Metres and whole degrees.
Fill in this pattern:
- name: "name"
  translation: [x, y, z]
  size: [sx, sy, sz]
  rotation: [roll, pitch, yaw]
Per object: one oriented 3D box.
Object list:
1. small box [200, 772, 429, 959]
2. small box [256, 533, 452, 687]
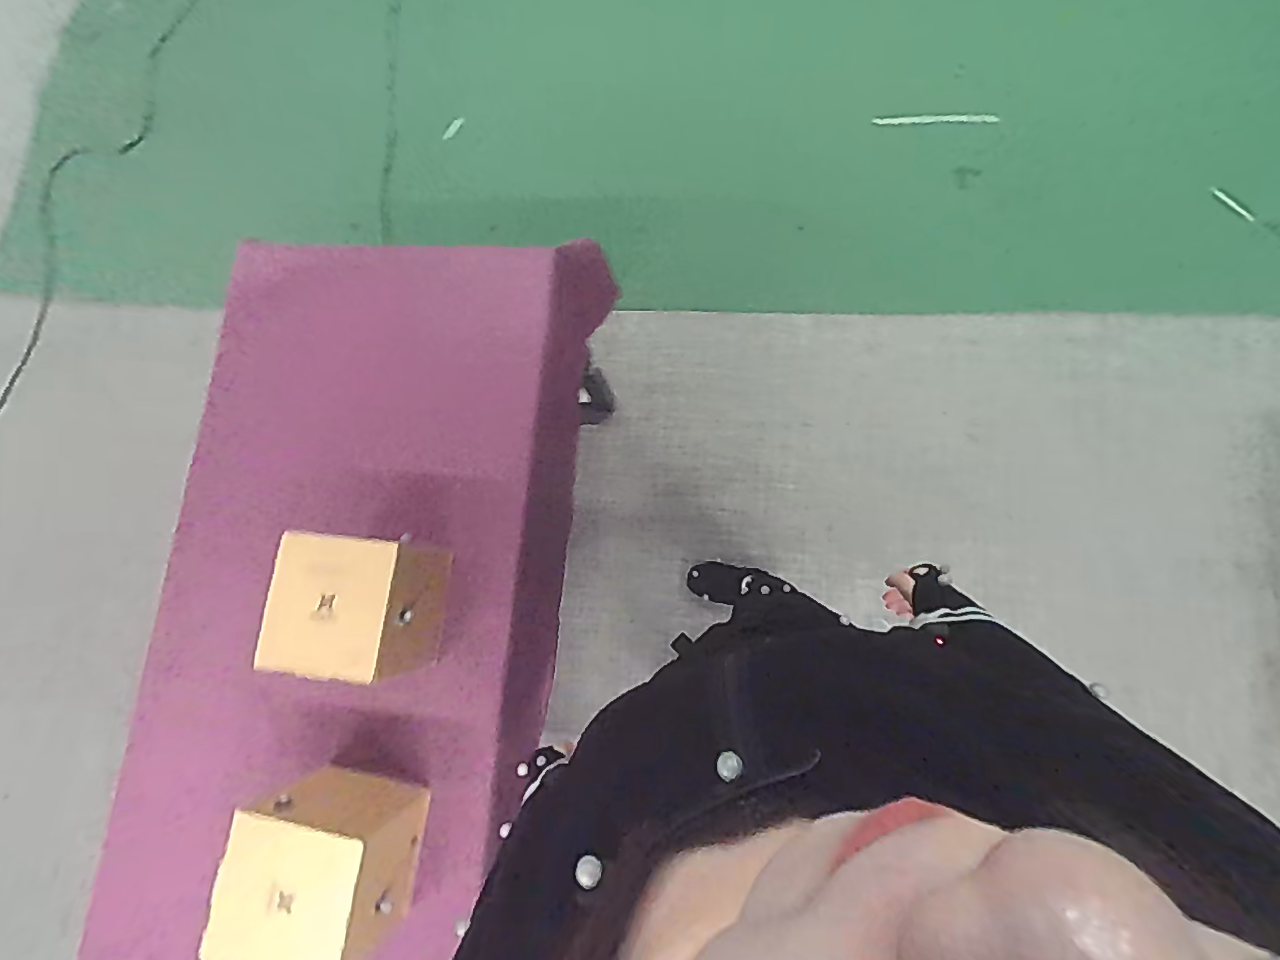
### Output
- name: "small box"
  translation: [-0.404, 0.505, 0.704]
  size: [0.179, 0.176, 0.168]
  rotation: [6, 80, 10]
- name: "small box"
  translation: [-0.388, 0.177, 0.765]
  size: [0.168, 0.176, 0.179]
  rotation: [5, 79, 8]
